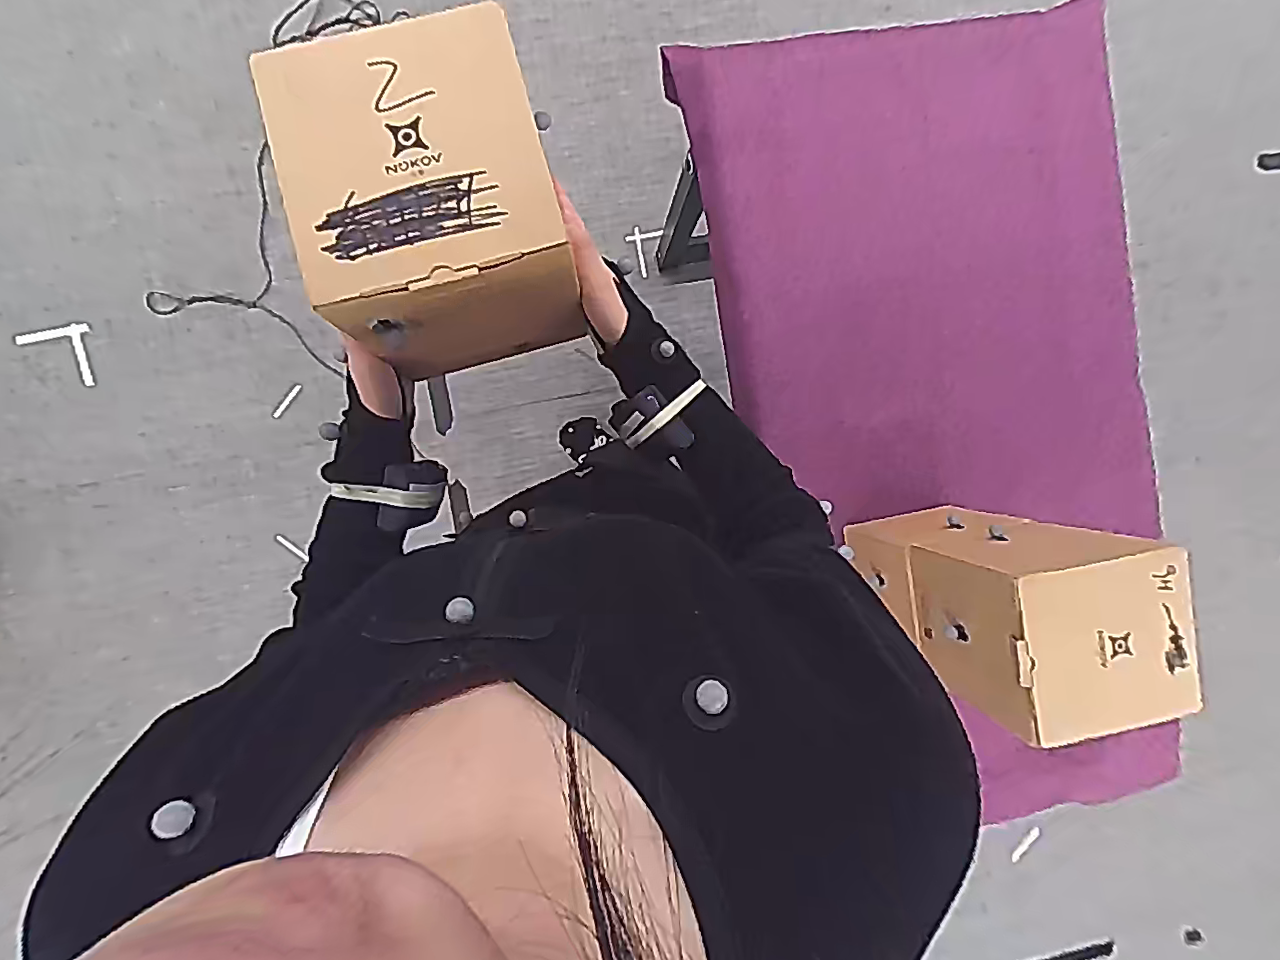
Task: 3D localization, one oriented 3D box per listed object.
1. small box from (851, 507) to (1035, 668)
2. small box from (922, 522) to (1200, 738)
[{"bbox_3d":[0.411,0.136,0.748,0.179,0.176,0.168,-10,94,-5],"label":"small box"},{"bbox_3d":[0.431,0.145,0.585,0.179,0.176,0.168,-9,94,-5],"label":"small box"}]
